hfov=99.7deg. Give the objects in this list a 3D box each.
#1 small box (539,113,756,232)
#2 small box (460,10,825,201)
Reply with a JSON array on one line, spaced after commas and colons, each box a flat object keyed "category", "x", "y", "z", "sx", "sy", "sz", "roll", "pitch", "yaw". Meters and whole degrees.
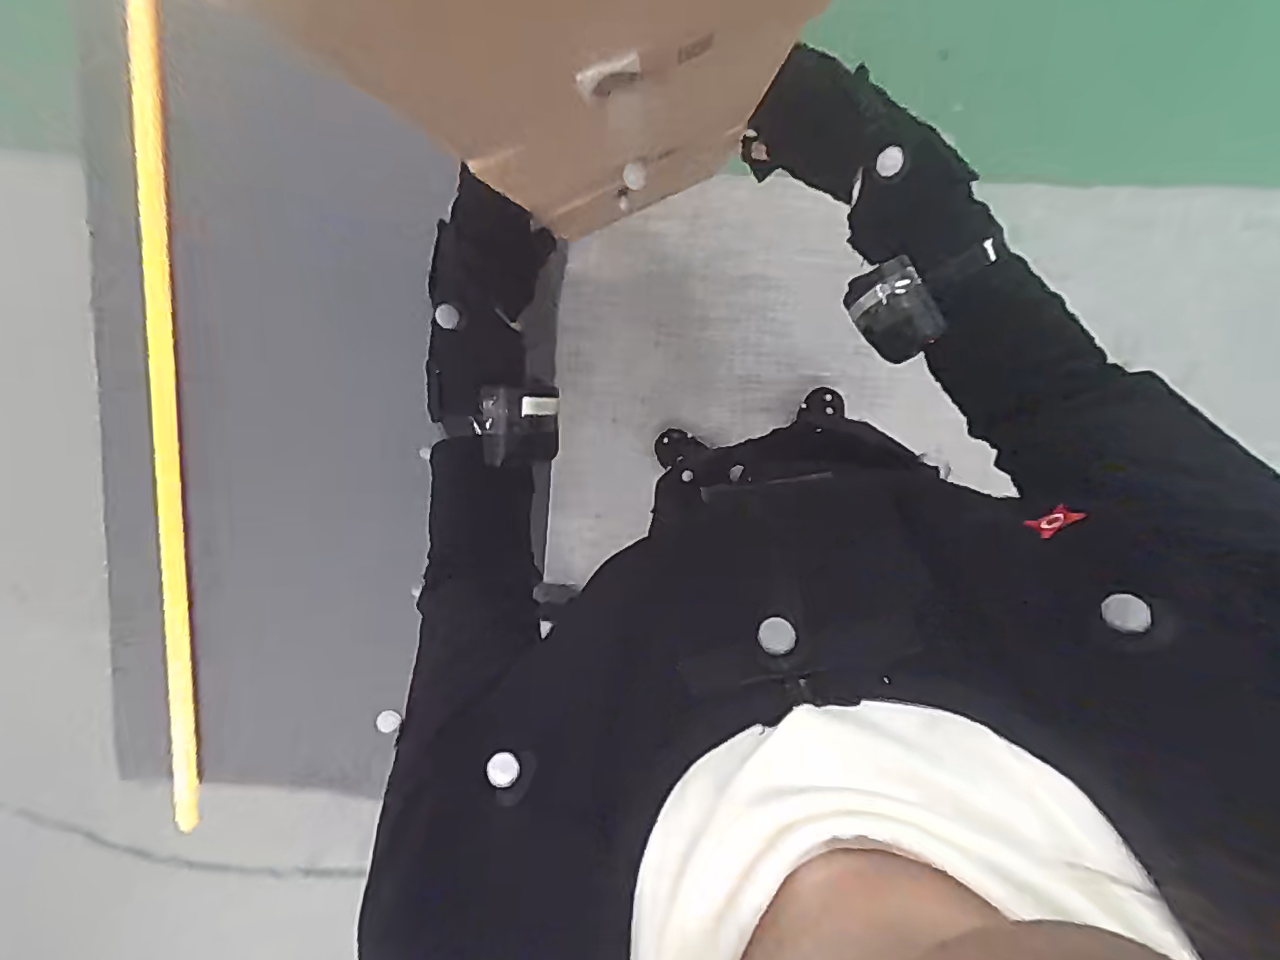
[{"category": "small box", "x": -0.021, "y": -0.328, "z": 0.445, "sx": 0.168, "sy": 0.176, "sz": 0.179, "roll": -20, "pitch": 108, "yaw": 9}, {"category": "small box", "x": -0.024, "y": -0.277, "z": 0.288, "sx": 0.168, "sy": 0.176, "sz": 0.179, "roll": -19, "pitch": 109, "yaw": 8}]
